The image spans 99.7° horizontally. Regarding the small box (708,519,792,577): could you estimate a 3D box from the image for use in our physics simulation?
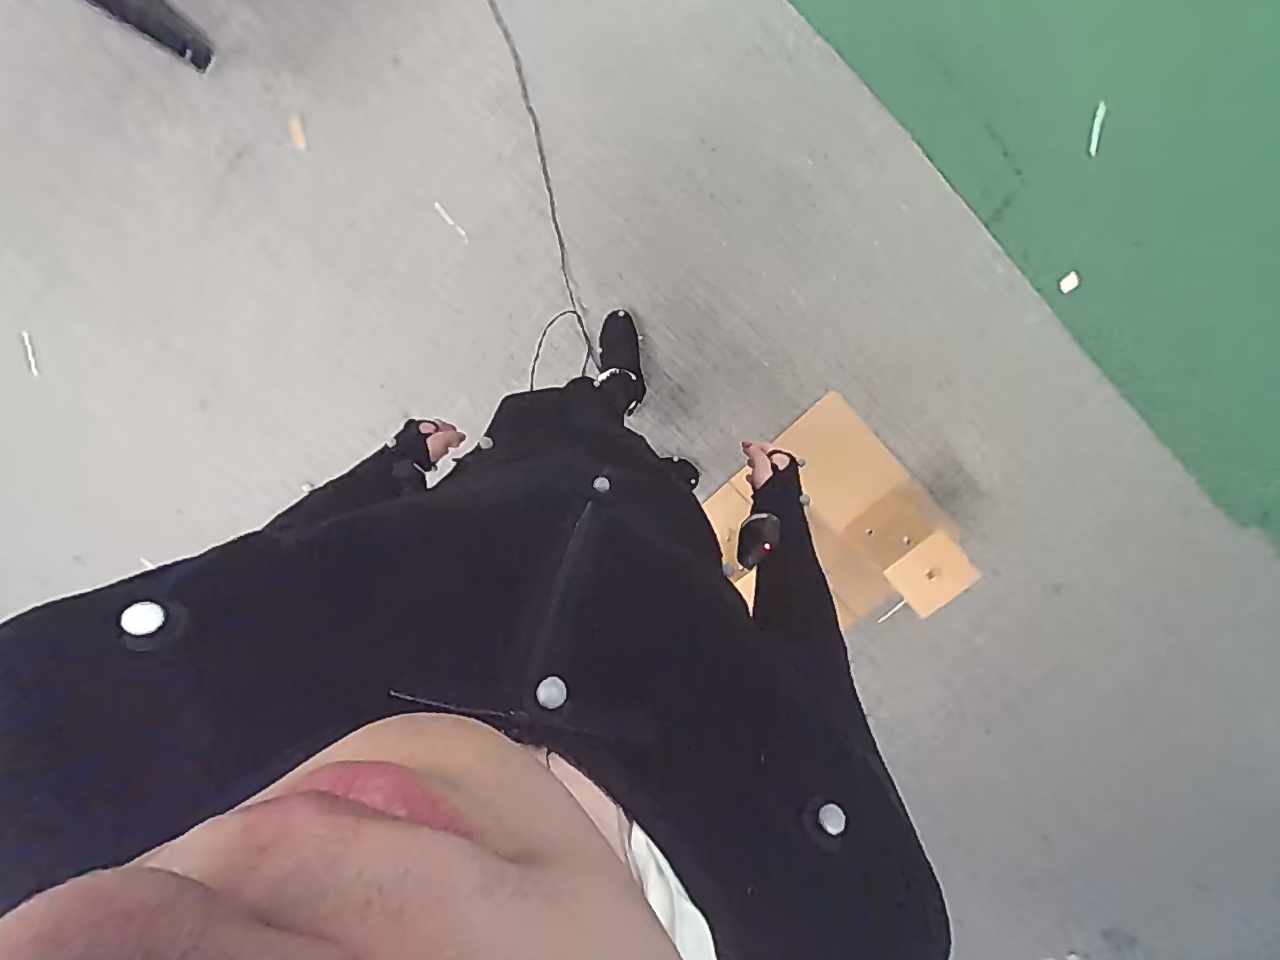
[{"bbox_3d":[0.314,0.244,1.586,0.179,0.176,0.168,-40,98,11],"label":"small box"}]

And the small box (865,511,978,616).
[{"bbox_3d":[0.705,0.209,1.387,0.179,0.176,0.168,-41,97,10],"label":"small box"}]

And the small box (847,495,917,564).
[{"bbox_3d":[0.718,0.169,1.543,0.179,0.176,0.168,-41,98,10],"label":"small box"}]
